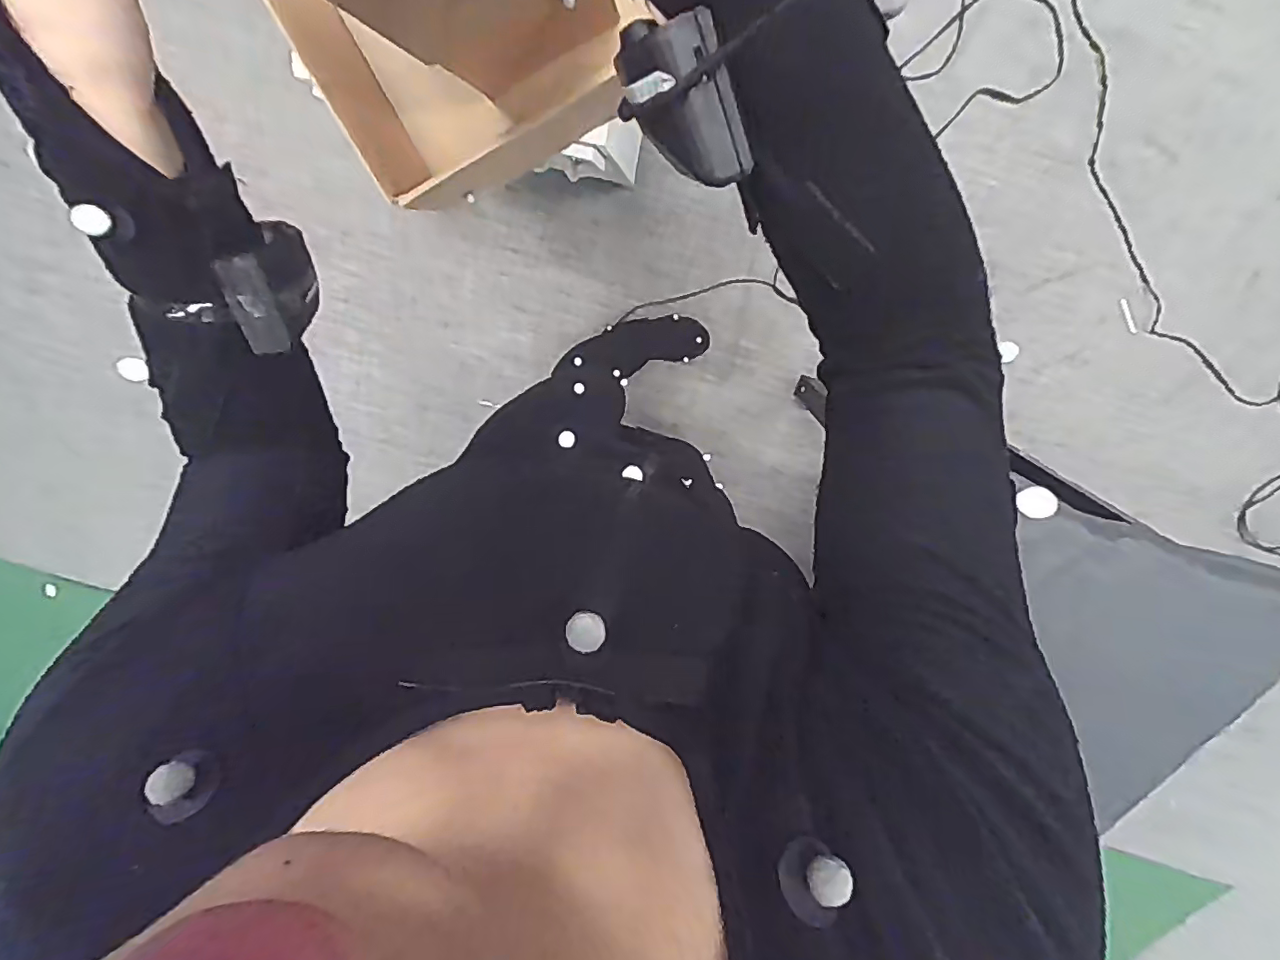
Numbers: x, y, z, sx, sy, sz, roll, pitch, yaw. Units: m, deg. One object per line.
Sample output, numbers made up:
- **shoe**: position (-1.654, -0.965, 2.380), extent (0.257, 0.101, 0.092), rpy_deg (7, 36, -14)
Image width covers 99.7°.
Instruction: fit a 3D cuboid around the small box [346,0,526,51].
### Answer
- **small box**: position (-0.148, -0.441, 0.362), extent (0.179, 0.176, 0.168), rpy_deg (-21, 110, 14)
